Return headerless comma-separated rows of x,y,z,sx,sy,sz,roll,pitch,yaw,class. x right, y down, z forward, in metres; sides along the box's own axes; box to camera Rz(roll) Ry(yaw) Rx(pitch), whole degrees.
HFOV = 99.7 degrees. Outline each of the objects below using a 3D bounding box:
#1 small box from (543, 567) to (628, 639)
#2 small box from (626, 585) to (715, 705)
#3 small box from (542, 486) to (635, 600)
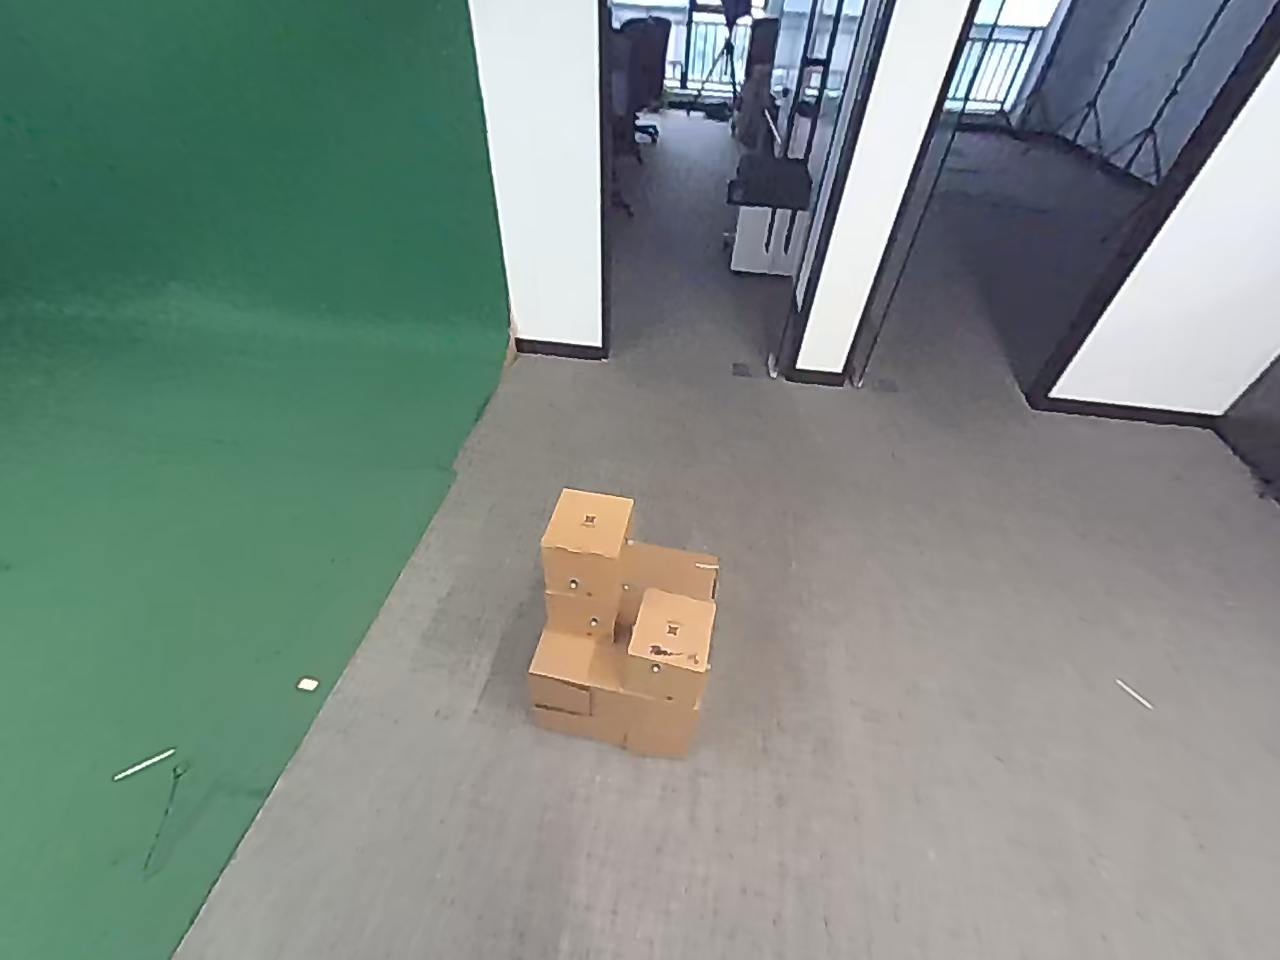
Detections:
-0.125,0.265,1.328,0.168,0.176,0.179,10,42,7,small box
0.067,0.372,1.220,0.168,0.176,0.179,11,42,8,small box
-0.113,0.143,1.219,0.168,0.176,0.179,10,44,7,small box
